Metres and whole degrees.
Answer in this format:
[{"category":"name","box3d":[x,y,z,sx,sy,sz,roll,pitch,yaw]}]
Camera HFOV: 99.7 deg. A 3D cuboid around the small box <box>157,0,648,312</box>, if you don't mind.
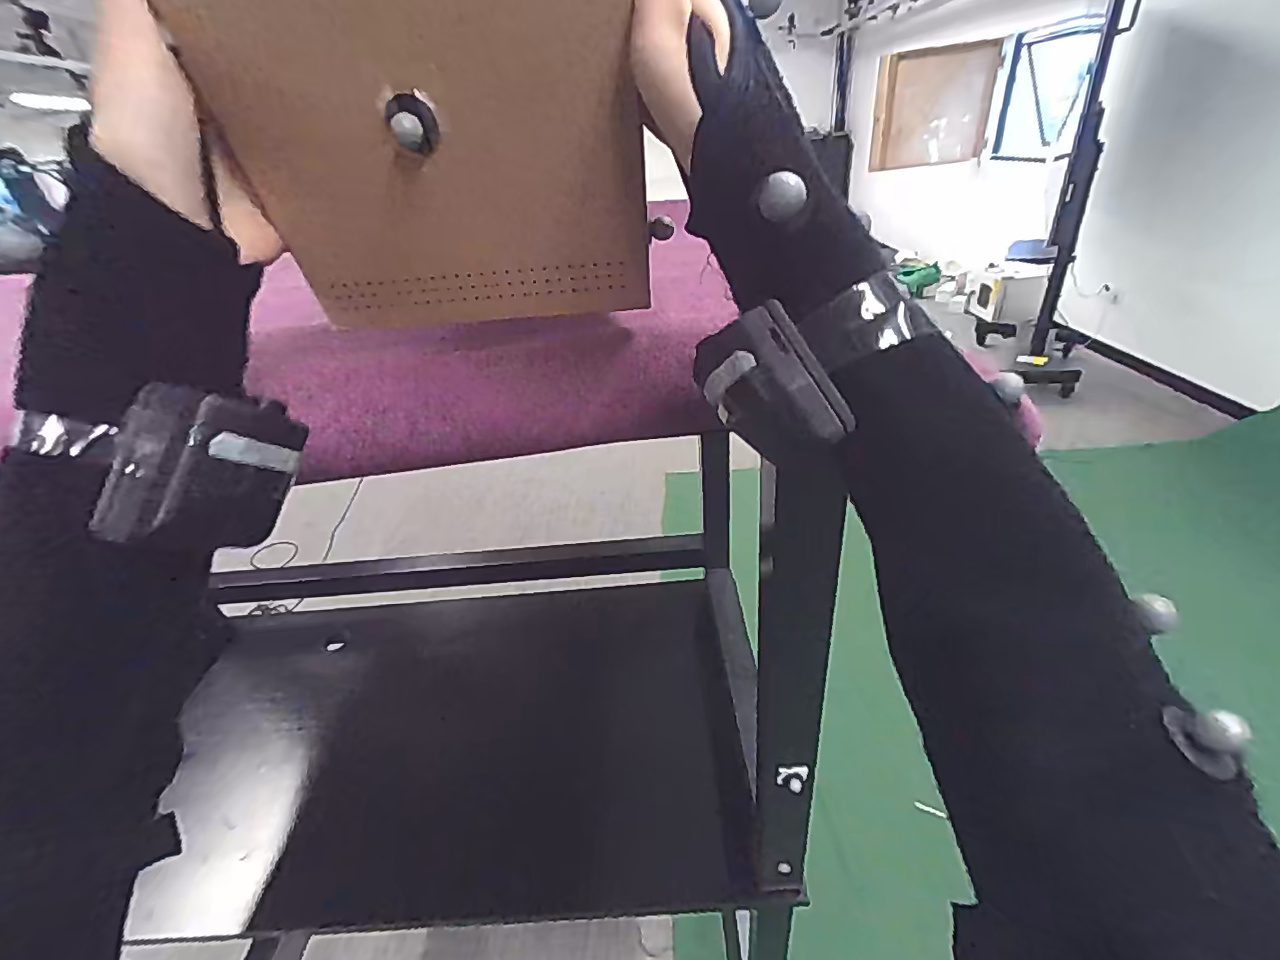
[{"category":"small box","box3d":[-0.086,-0.206,0.279,0.179,0.176,0.168,-4,49,2]}]
